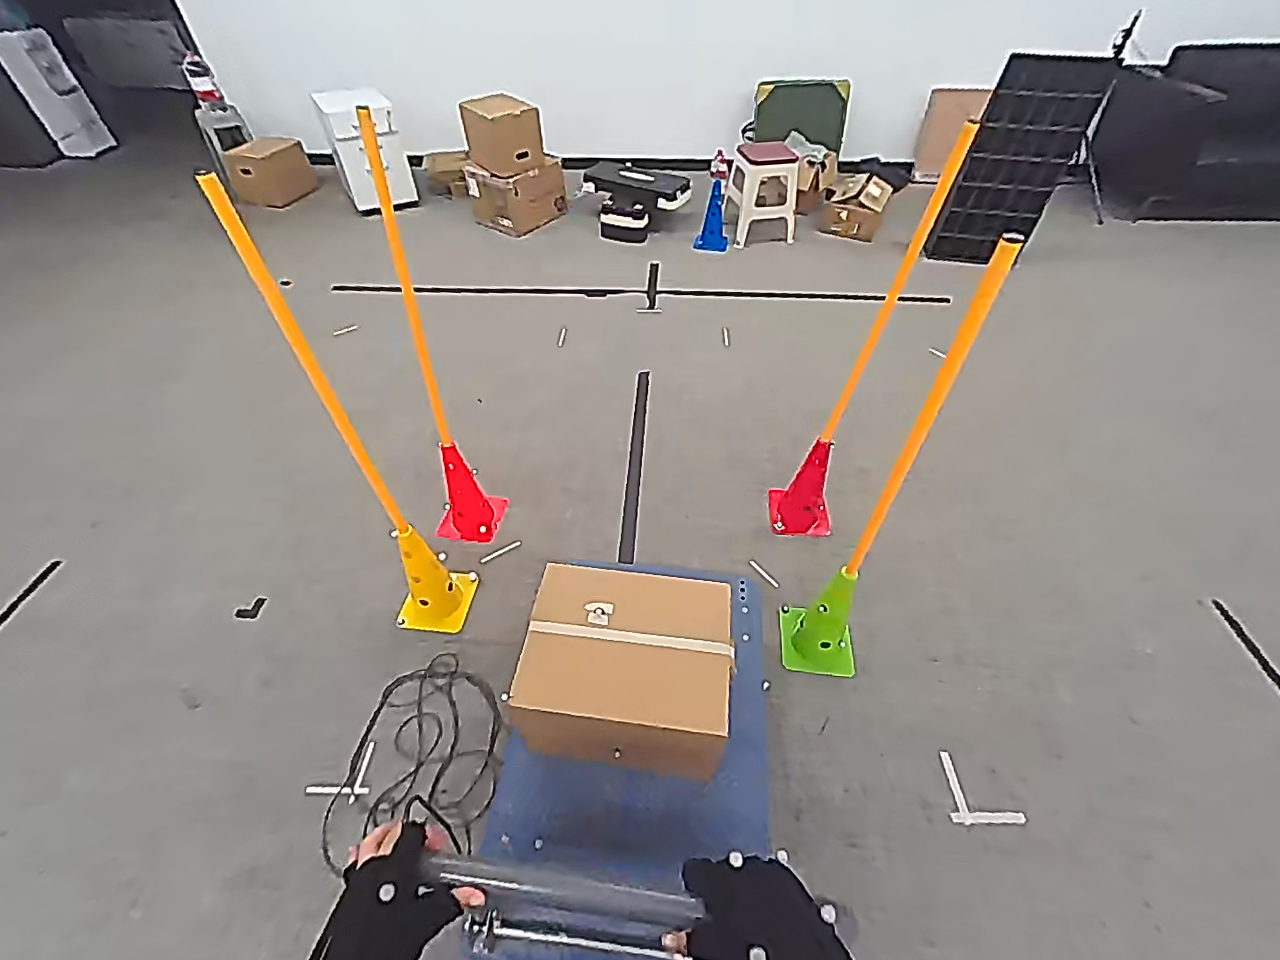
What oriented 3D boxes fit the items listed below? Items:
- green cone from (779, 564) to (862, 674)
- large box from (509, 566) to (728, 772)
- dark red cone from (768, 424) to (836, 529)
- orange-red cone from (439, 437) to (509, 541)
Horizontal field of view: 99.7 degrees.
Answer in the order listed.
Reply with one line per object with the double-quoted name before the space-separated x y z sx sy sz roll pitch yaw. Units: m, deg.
"green cone" 0.513 0.345 1.449 0.202 0.368 0.200 6 48 4
"large box" -0.023 0.416 1.185 0.408 0.320 0.320 6 48 6
"dark red cone" 0.561 -0.022 1.763 0.201 0.394 0.202 4 48 1
"orange-red cone" -0.573 0.003 1.758 0.198 0.360 0.199 9 47 6
